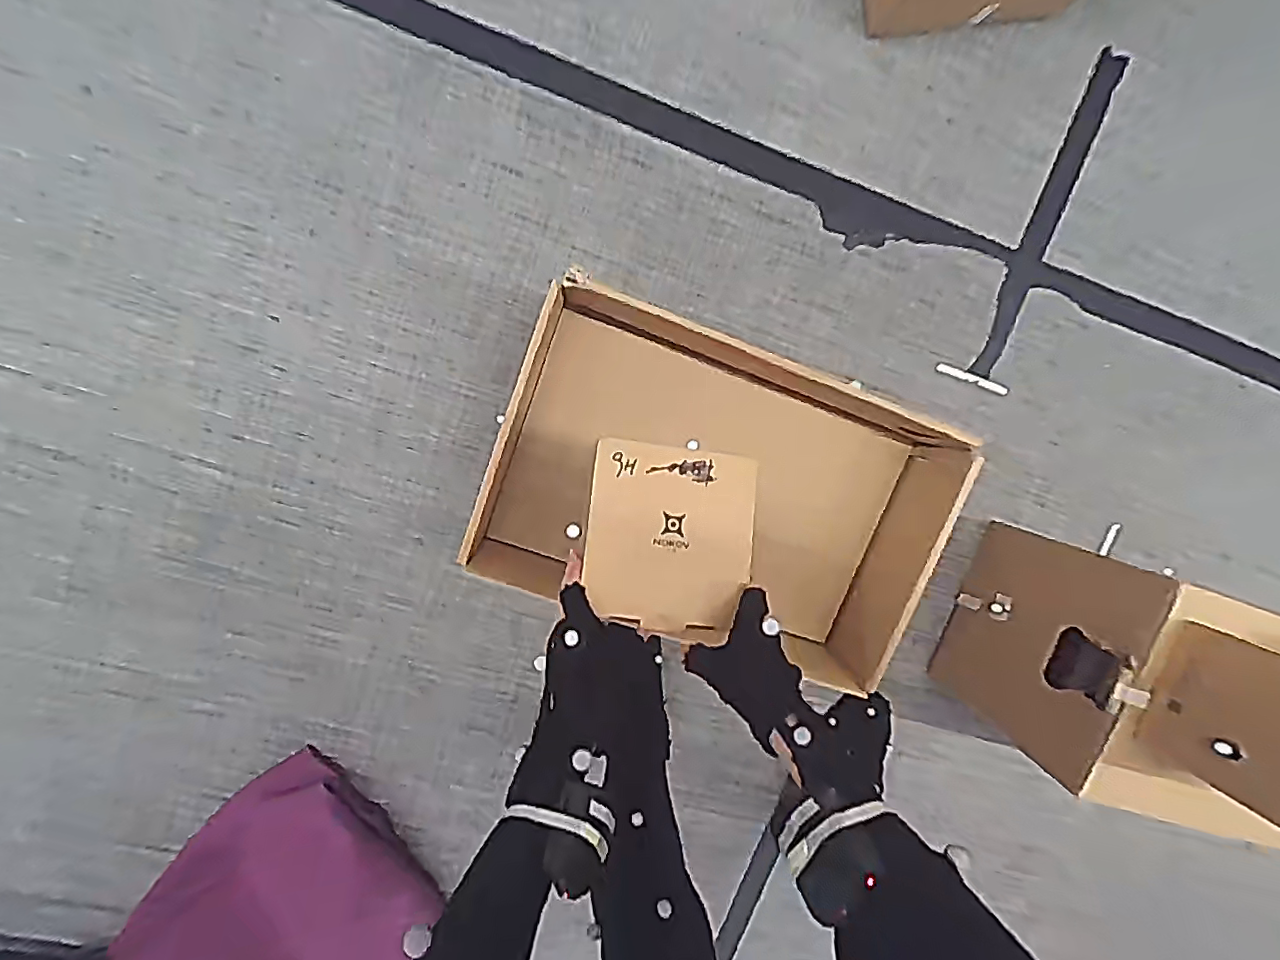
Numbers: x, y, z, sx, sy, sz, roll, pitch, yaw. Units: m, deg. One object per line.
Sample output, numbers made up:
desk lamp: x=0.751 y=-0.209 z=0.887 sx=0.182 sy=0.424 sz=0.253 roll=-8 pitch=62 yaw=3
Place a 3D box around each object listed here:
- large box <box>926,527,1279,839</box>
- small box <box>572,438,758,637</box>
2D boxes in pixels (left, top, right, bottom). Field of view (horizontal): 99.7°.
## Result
large box: x=0.773 y=0.300 z=0.876 sx=0.408 sy=0.320 sz=0.320 roll=17 pitch=98 yaw=-10
small box: x=0.017 y=0.066 z=0.599 sx=0.168 sy=0.176 sz=0.179 roll=8 pitch=80 yaw=-8
